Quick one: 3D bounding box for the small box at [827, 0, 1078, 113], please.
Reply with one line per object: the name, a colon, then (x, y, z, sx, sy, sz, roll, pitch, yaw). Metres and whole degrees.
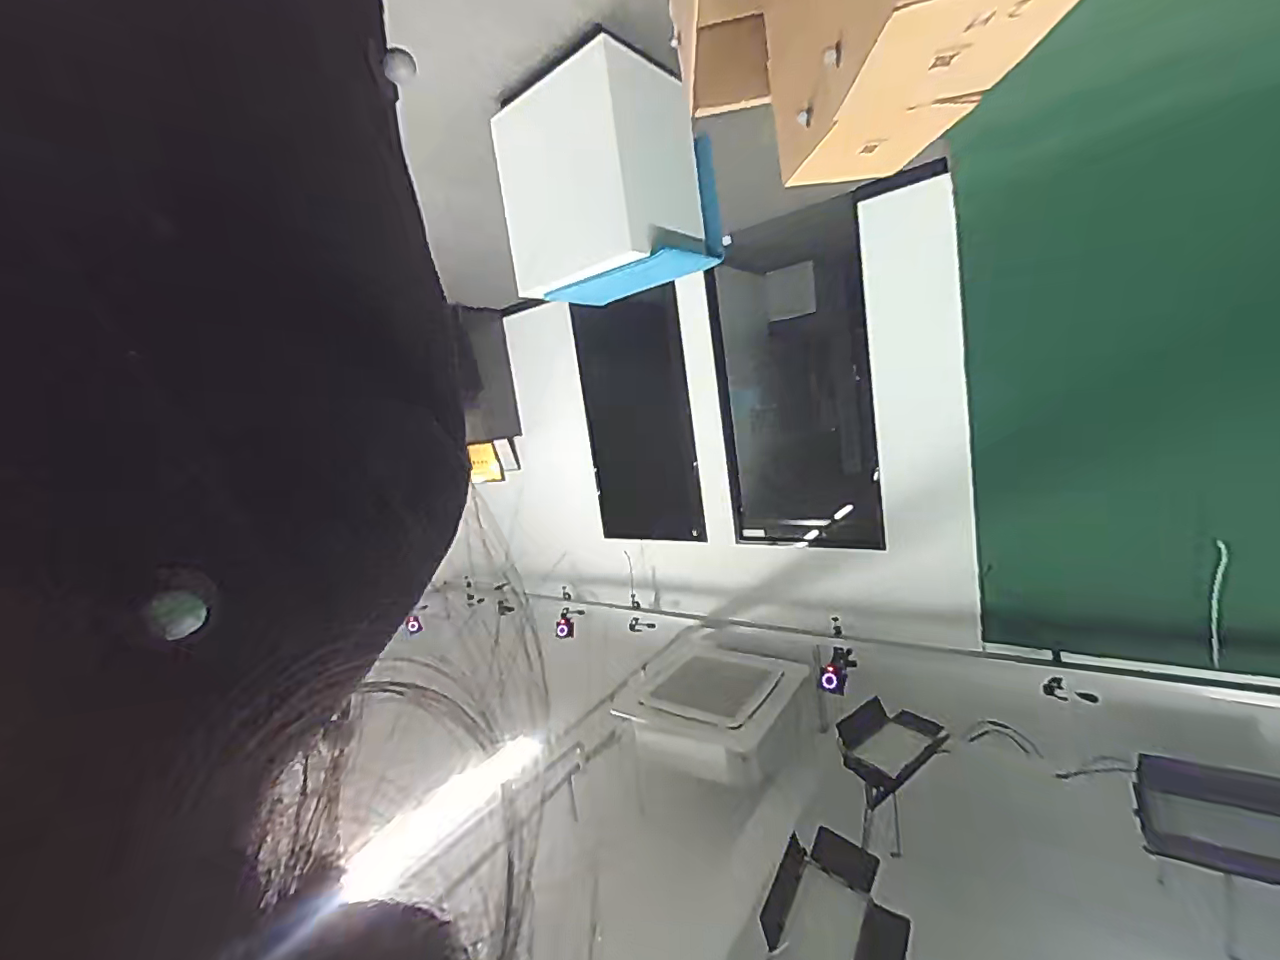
small box: (0.269, -0.470, 0.475, 0.168, 0.176, 0.179, -9, -173, 5)
